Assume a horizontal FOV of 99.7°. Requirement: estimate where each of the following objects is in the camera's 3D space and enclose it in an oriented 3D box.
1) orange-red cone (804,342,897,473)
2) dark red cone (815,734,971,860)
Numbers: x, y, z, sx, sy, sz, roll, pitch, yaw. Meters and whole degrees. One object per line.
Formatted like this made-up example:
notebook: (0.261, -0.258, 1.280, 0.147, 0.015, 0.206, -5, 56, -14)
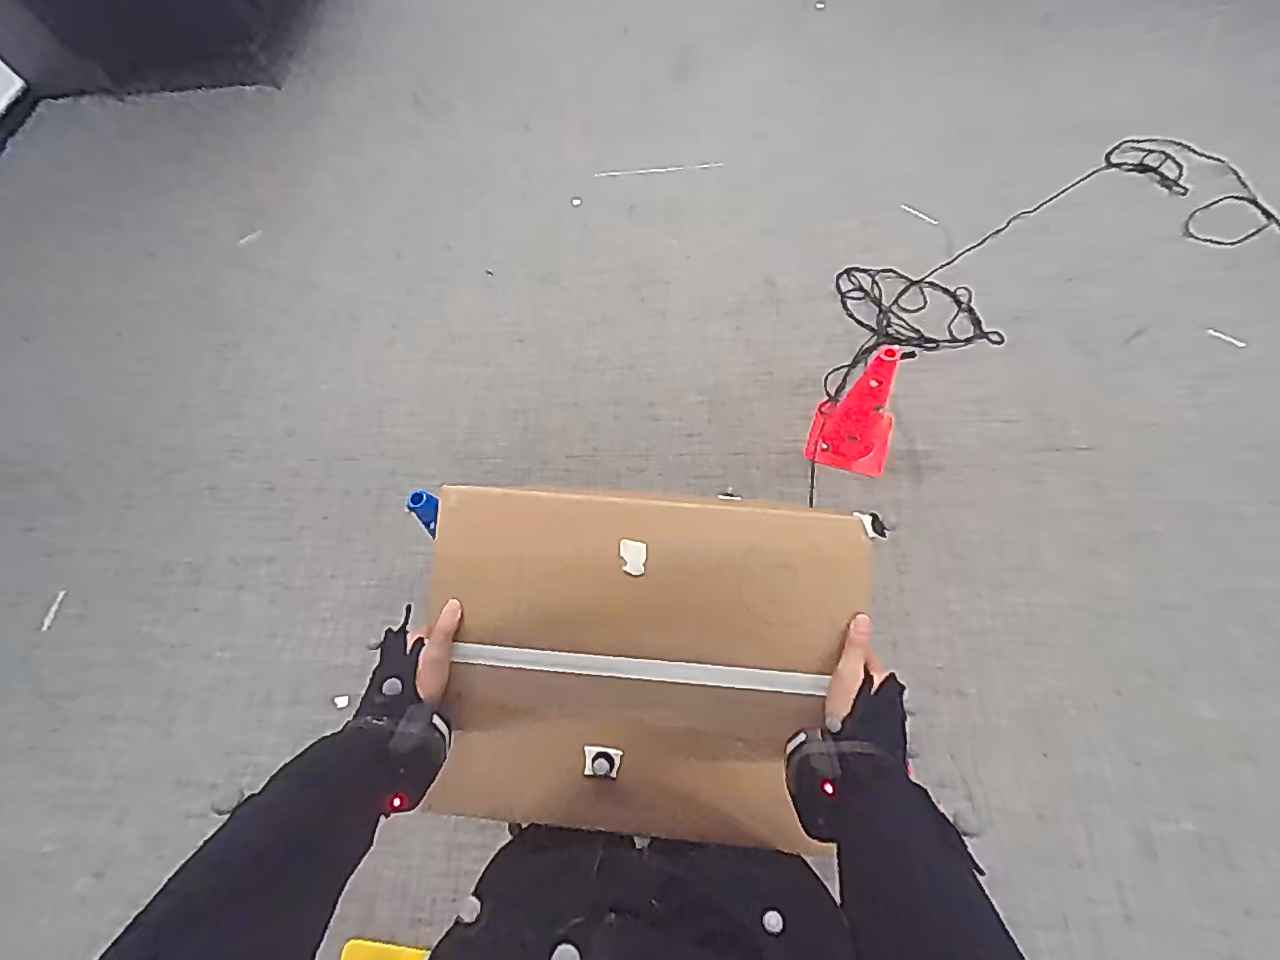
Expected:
orange-red cone: (0.533, -0.197, 1.272, 0.199, 0.360, 0.198, 18, 68, 14)
dark red cone: (0.434, 0.542, 0.893, 0.202, 0.394, 0.201, -7, 66, 3)
